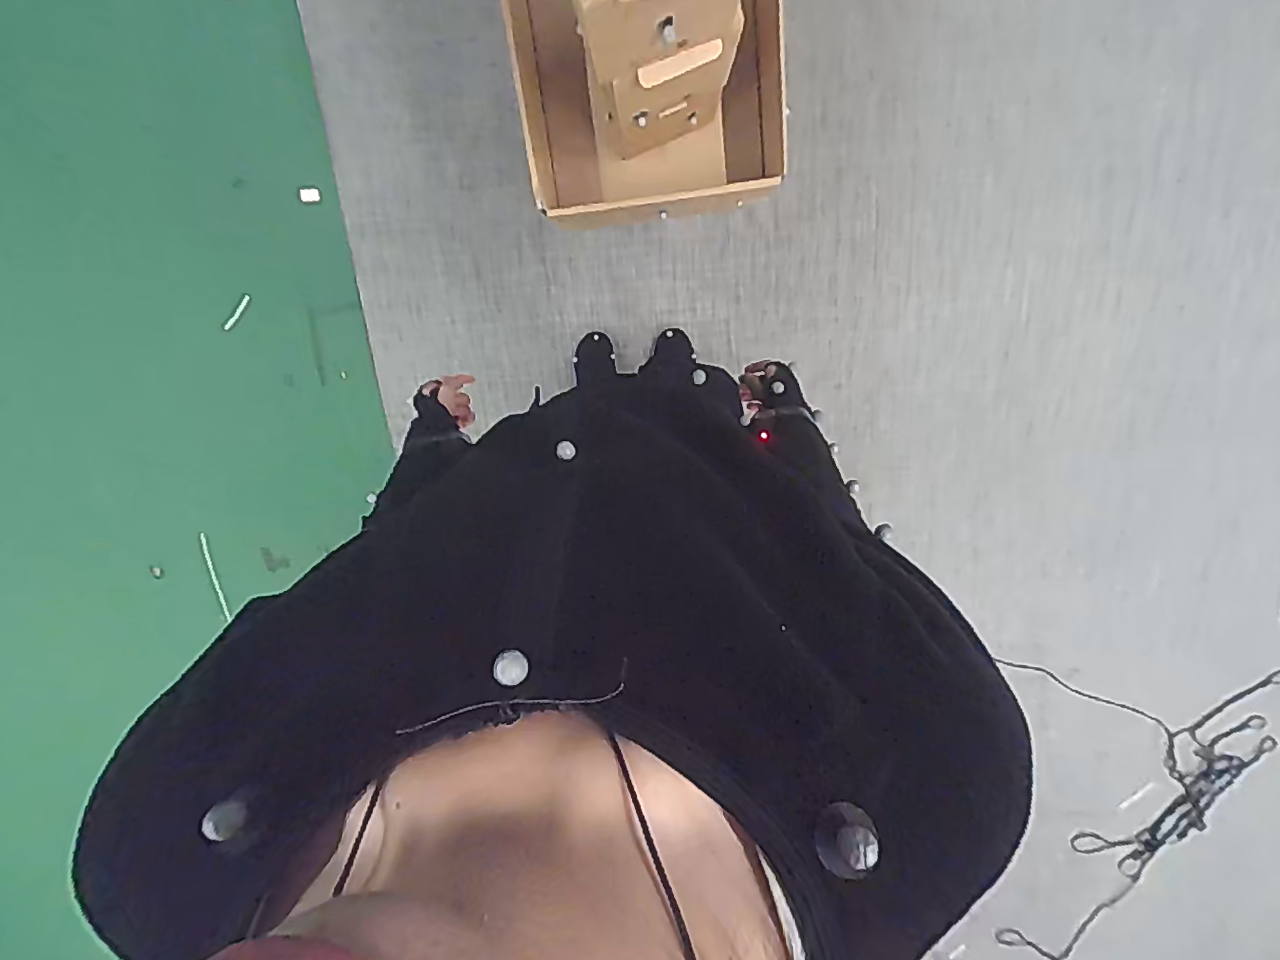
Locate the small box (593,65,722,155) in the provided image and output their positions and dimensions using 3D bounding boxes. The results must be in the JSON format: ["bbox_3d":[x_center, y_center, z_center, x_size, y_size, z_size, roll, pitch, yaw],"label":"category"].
[{"bbox_3d":[0.019,-0.637,0.843,0.168,0.176,0.179,-19,104,6],"label":"small box"}]

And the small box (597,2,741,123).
[{"bbox_3d":[0.016,-0.589,0.686,0.168,0.176,0.179,-19,103,6],"label":"small box"}]

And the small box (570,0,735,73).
[{"bbox_3d":[0.001,-0.541,0.530,0.168,0.176,0.179,-17,105,5],"label":"small box"}]
